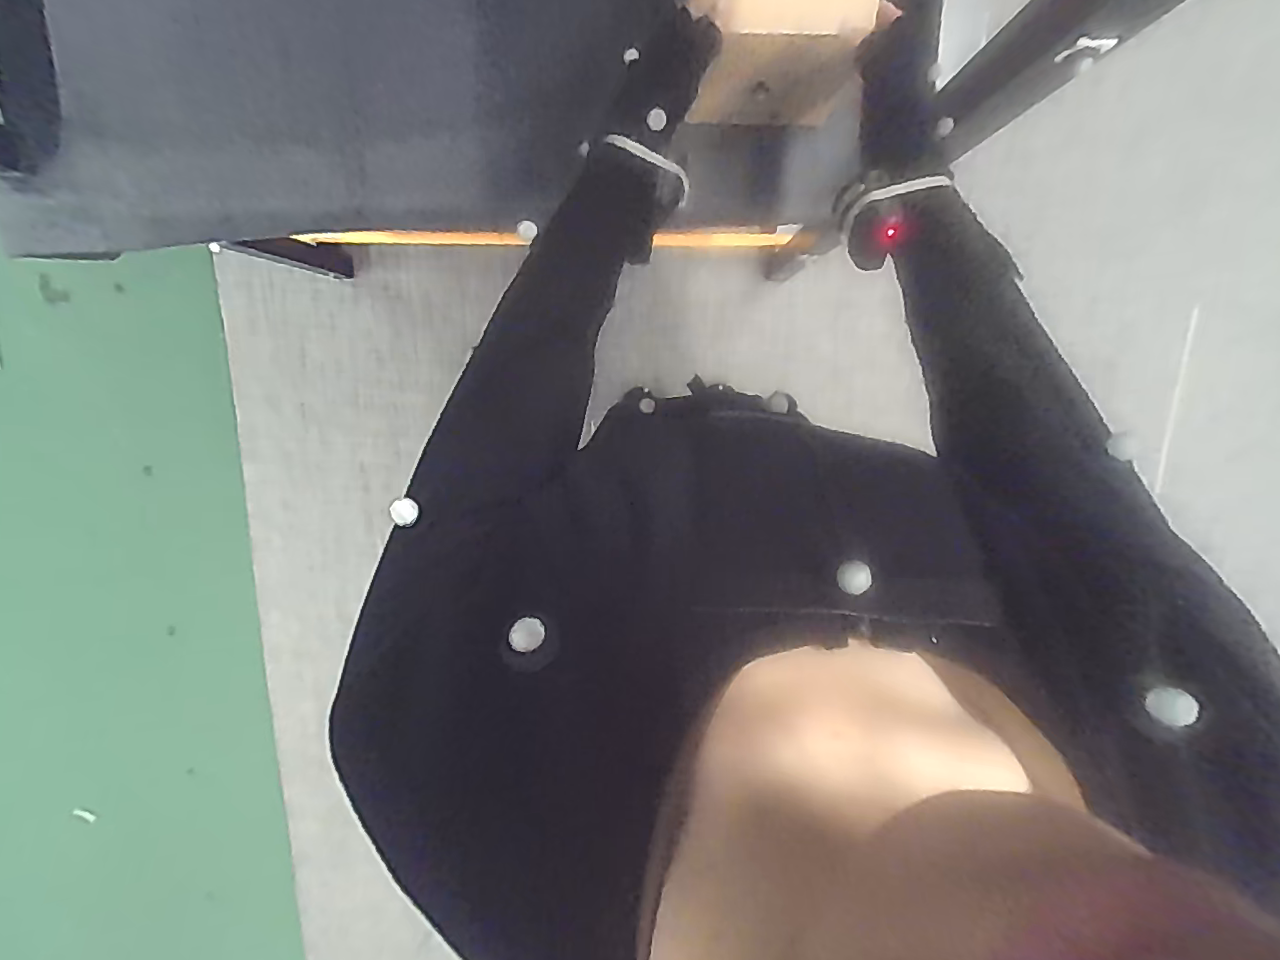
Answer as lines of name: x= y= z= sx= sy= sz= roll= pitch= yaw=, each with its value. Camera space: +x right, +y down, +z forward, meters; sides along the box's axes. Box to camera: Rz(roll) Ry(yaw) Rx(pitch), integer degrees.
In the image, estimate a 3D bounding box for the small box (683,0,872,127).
small box: x=0.134 y=-0.496 z=0.558 sx=0.168 sy=0.176 sz=0.179 roll=3 pitch=99 yaw=1
